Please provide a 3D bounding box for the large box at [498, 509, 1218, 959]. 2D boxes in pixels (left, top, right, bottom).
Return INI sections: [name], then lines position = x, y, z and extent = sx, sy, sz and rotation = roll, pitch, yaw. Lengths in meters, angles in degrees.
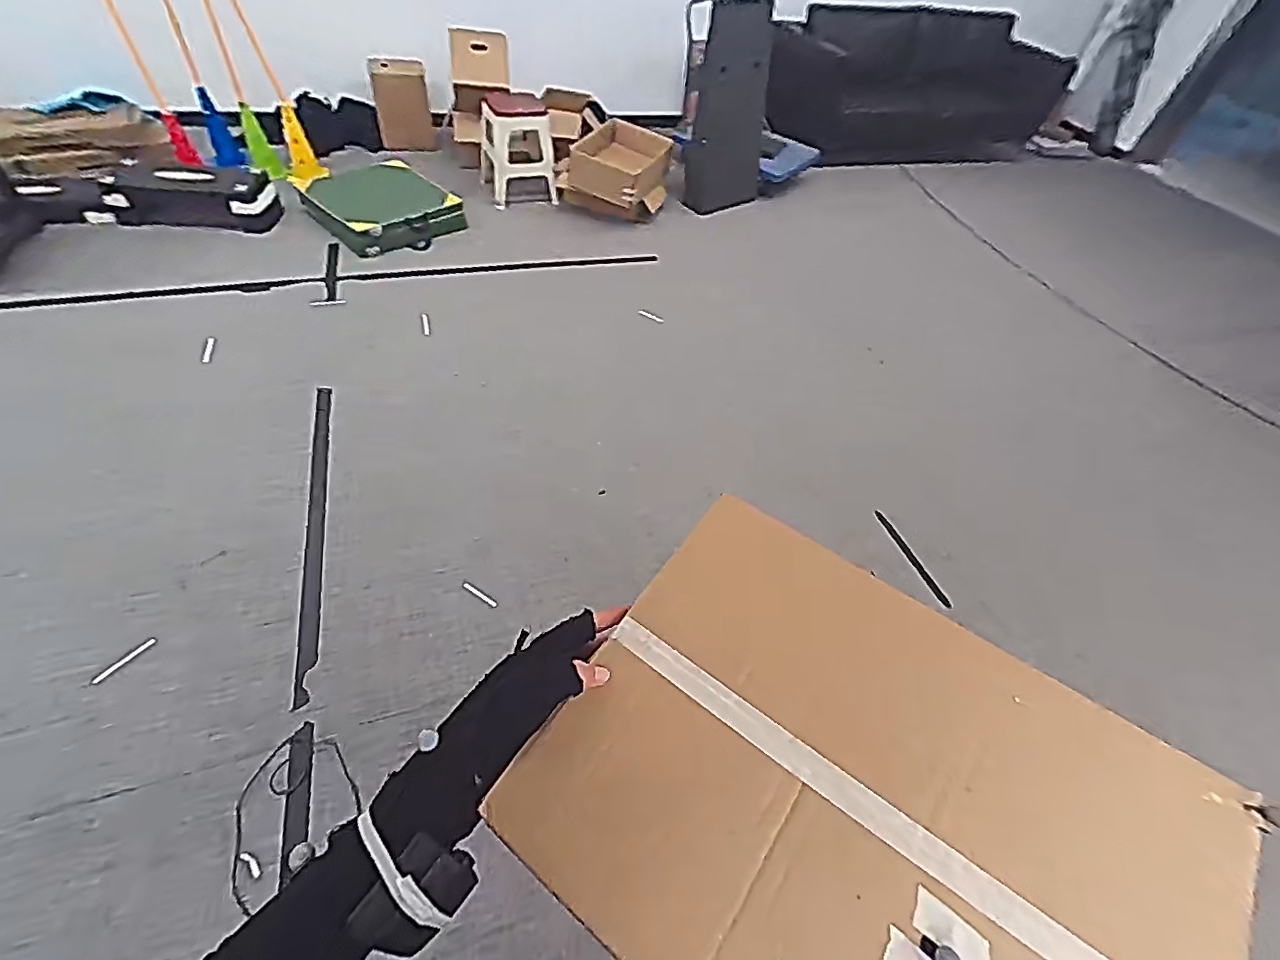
[large box]
position = 0.149, 0.302, 0.493
extent = 0.408, 0.320, 0.320
rotation = 31, 62, 21
